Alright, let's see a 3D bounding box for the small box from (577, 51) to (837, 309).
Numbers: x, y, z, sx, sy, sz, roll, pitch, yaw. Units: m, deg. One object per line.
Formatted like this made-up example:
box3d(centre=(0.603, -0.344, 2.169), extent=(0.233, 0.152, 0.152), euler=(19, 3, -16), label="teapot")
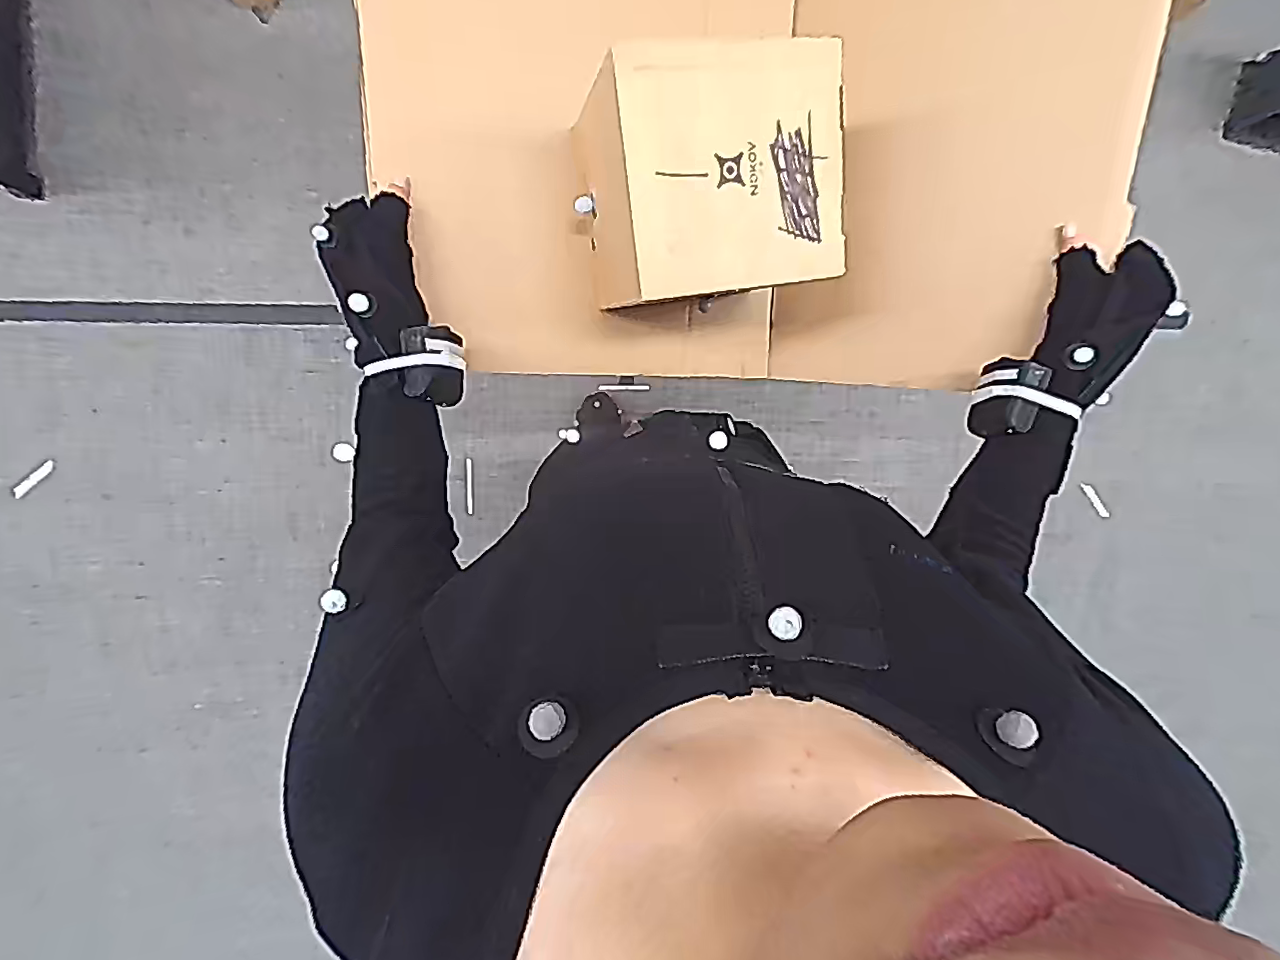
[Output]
box3d(centre=(0.052, -0.248, 0.483), extent=(0.179, 0.176, 0.168), euler=(-11, 107, -12), label="small box")
